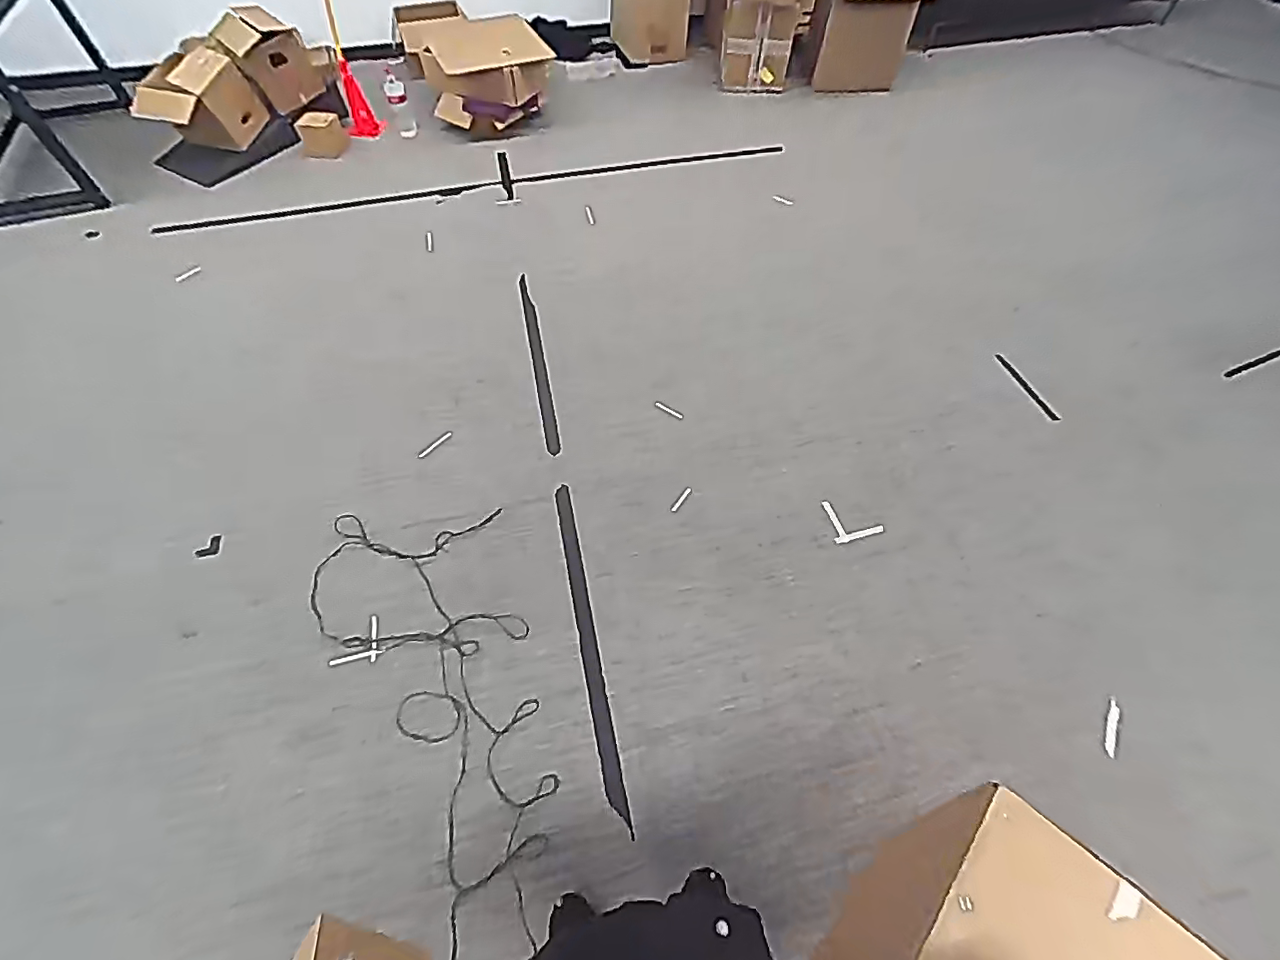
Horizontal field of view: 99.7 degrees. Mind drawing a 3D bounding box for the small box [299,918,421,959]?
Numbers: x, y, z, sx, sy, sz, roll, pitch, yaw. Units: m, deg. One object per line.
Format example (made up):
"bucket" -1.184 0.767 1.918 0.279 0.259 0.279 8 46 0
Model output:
"small box" -0.360 0.688 0.647 0.176 0.179 0.168 37 69 -16
